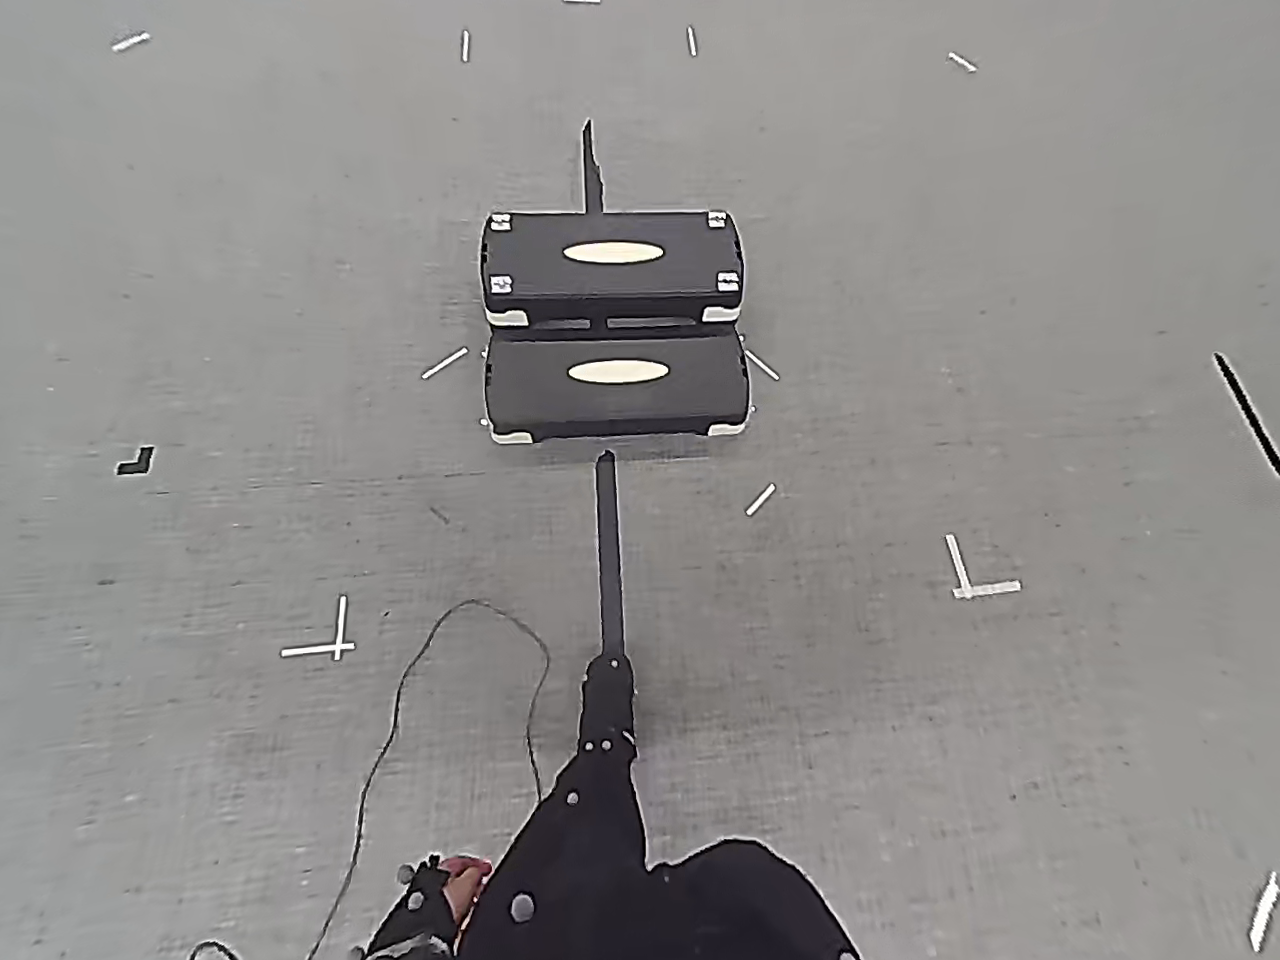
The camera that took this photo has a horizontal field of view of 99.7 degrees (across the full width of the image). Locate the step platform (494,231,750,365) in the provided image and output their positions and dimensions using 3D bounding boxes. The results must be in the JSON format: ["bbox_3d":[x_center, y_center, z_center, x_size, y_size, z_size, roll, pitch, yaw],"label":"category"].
[{"bbox_3d":[-0.046,-0.495,1.476,0.684,0.204,0.286,1,68,-4],"label":"step platform"}]
